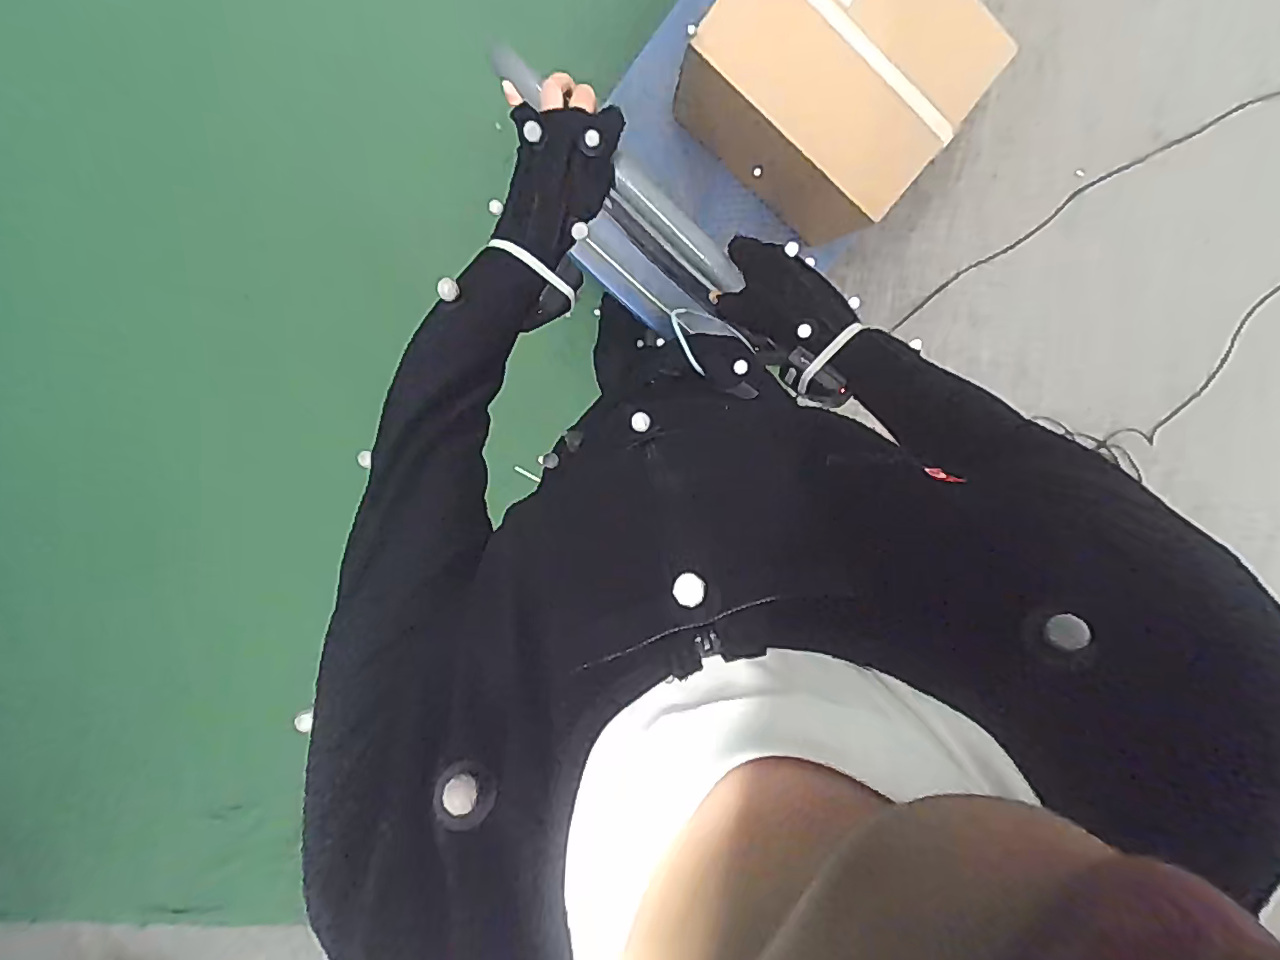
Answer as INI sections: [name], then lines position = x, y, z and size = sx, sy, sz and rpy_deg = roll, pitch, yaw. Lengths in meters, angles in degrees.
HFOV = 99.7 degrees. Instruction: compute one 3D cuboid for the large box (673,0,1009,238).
[large box]
position = 0.314, -0.702, 0.959
size = 0.408, 0.320, 0.320
rpy_deg = 37, 102, -11
